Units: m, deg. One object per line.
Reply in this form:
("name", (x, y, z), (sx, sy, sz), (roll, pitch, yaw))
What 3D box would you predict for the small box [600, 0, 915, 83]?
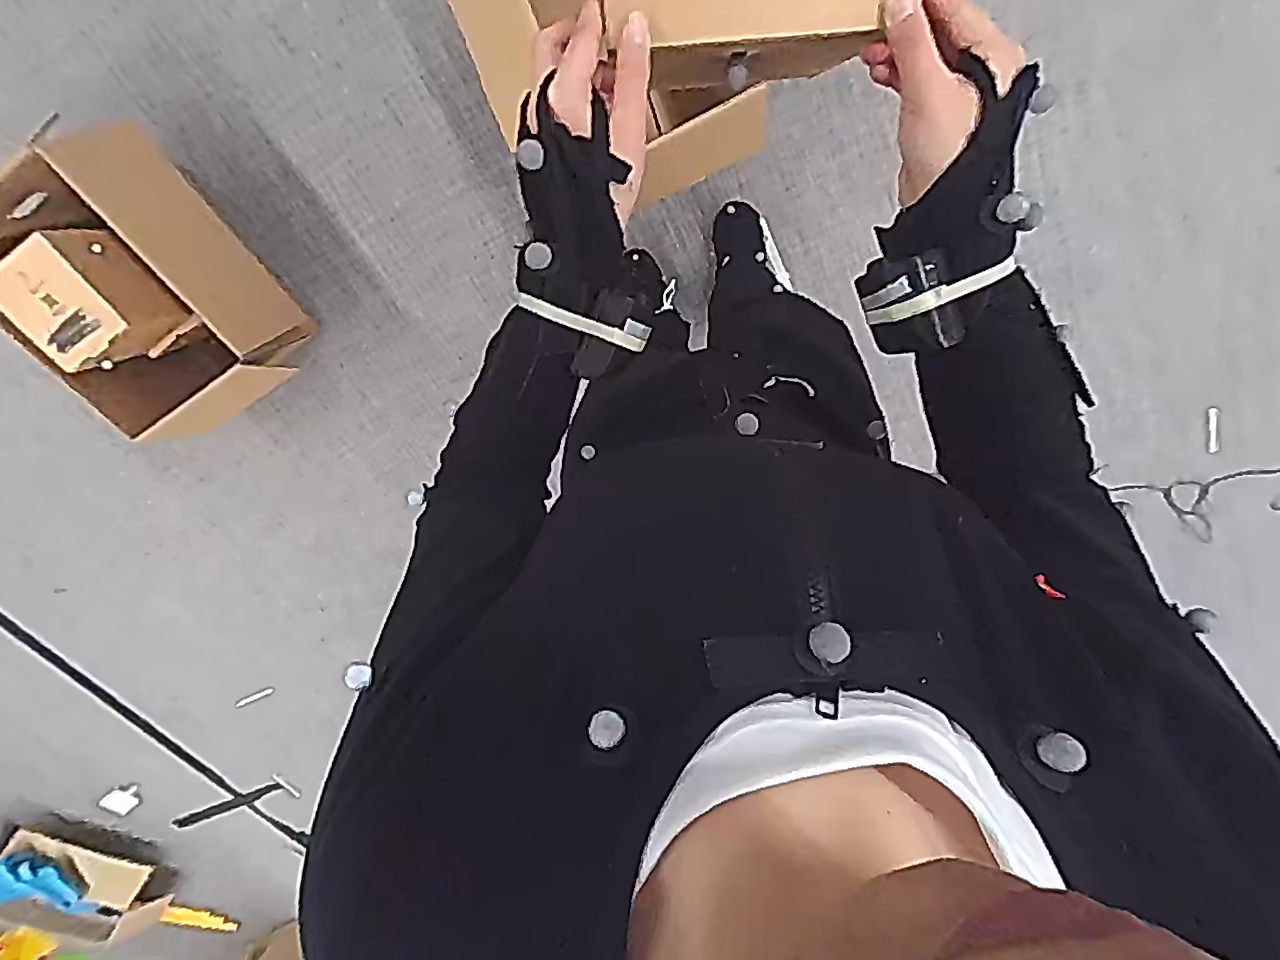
("small box", (0.059, -0.362, 0.334), (0.179, 0.176, 0.168), (-5, 119, 0))
